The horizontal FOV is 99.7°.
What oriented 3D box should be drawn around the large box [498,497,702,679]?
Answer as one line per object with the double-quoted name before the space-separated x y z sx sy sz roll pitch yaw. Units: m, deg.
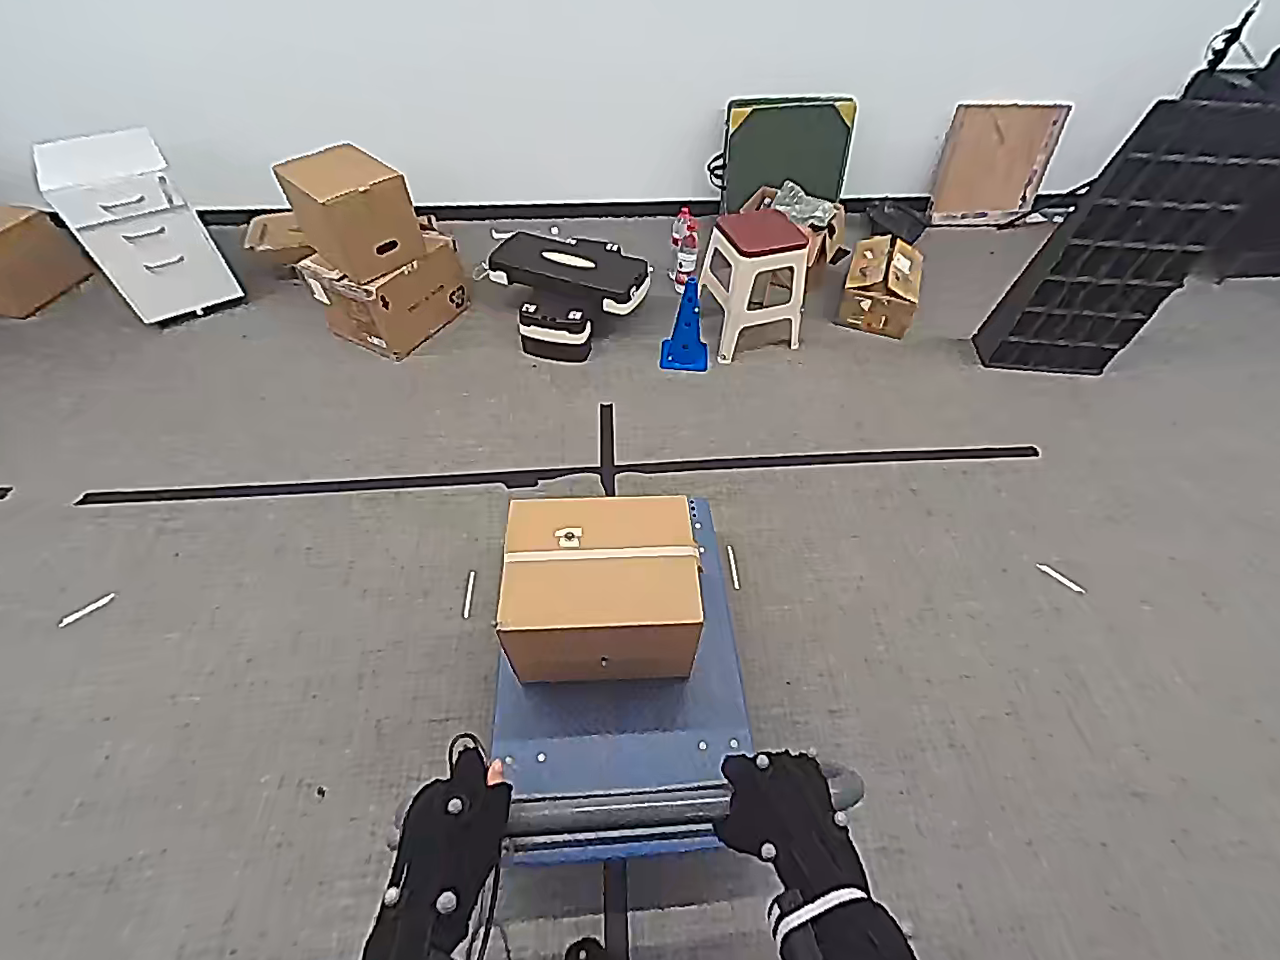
"large box" -0.085 0.256 1.257 0.408 0.320 0.320 -2 52 -2
